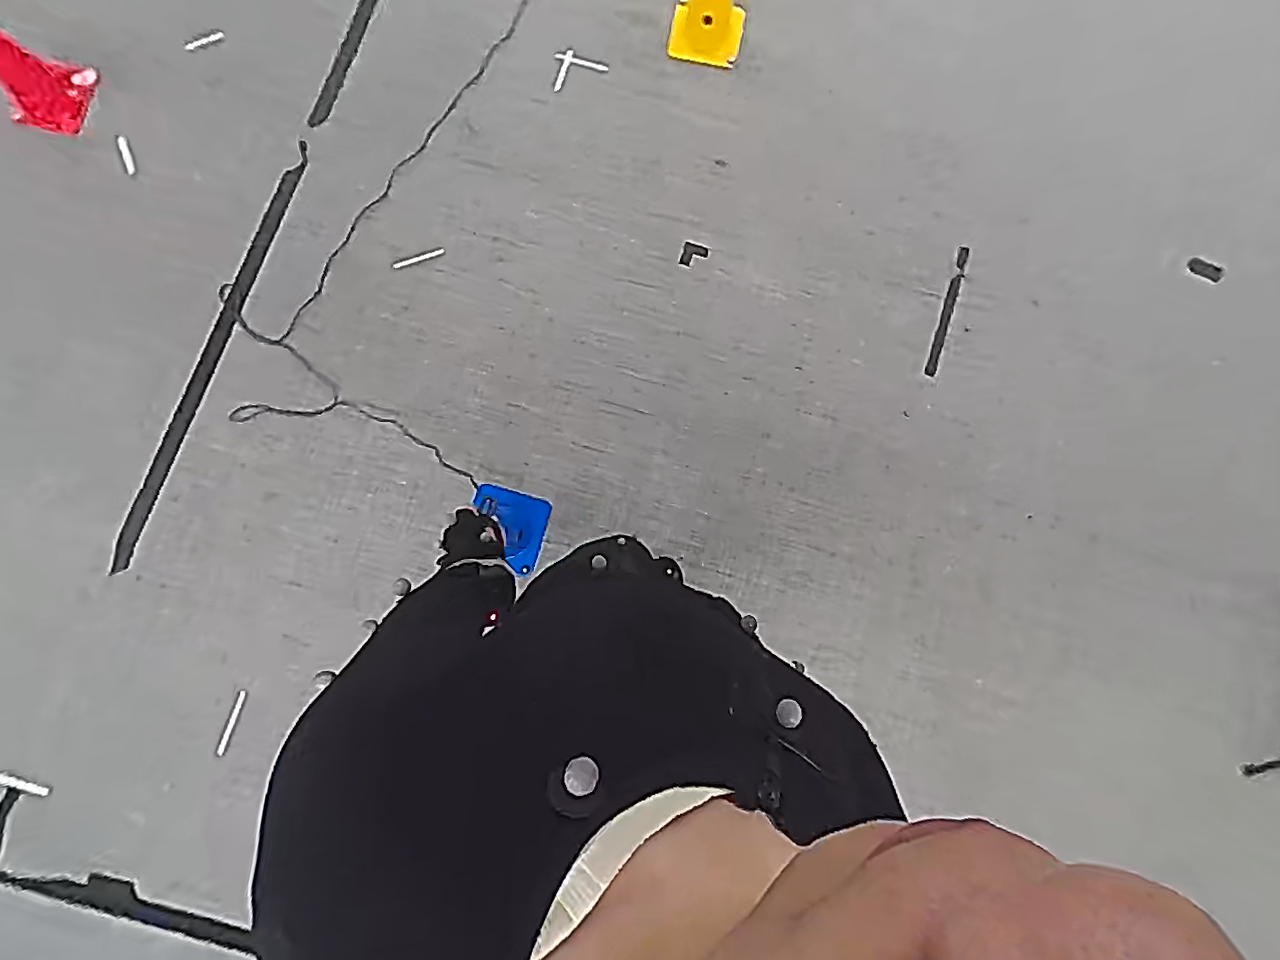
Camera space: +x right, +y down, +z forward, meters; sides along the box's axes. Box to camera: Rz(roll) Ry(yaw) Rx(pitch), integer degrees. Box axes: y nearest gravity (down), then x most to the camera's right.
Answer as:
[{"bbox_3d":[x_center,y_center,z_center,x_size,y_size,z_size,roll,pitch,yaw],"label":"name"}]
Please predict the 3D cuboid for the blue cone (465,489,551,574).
[{"bbox_3d":[-0.330,0.109,1.214,0.192,0.380,0.193,18,83,0],"label":"blue cone"}]

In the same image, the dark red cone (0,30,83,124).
[{"bbox_3d":[-1.620,-1.085,1.301,0.201,0.394,0.202,10,82,-2],"label":"dark red cone"}]
